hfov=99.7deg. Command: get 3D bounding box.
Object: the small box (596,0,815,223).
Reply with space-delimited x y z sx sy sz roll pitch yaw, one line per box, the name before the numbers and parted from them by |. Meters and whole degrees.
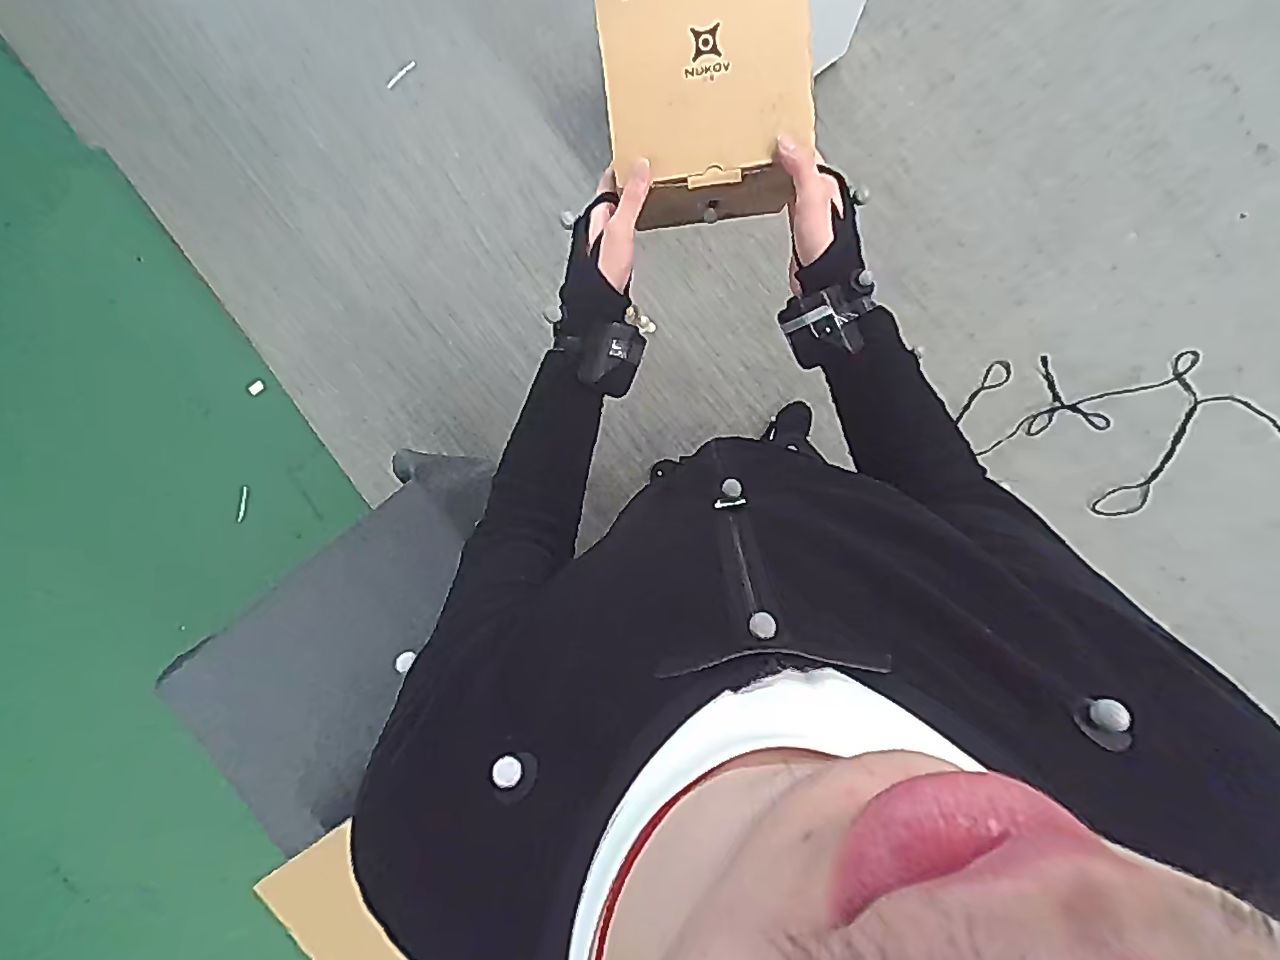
small box | 0.062 -0.357 0.511 0.168 0.176 0.179 -7 102 7
